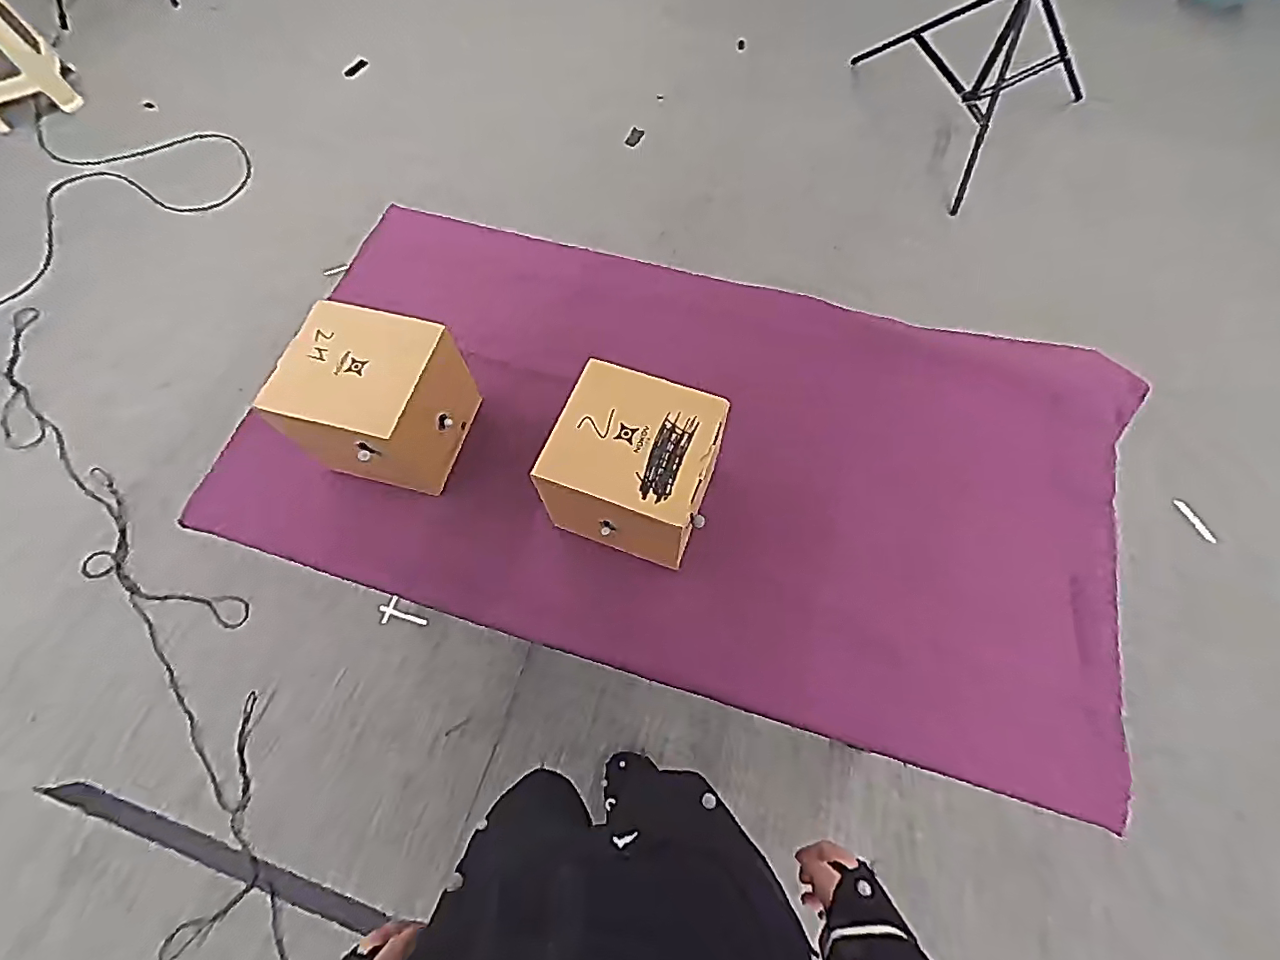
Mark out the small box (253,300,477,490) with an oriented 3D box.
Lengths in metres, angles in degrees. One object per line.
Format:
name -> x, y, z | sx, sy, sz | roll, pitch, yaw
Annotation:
small box -> -0.338, -0.102, 0.710 | 0.179, 0.176, 0.168 | 13, 66, 6
